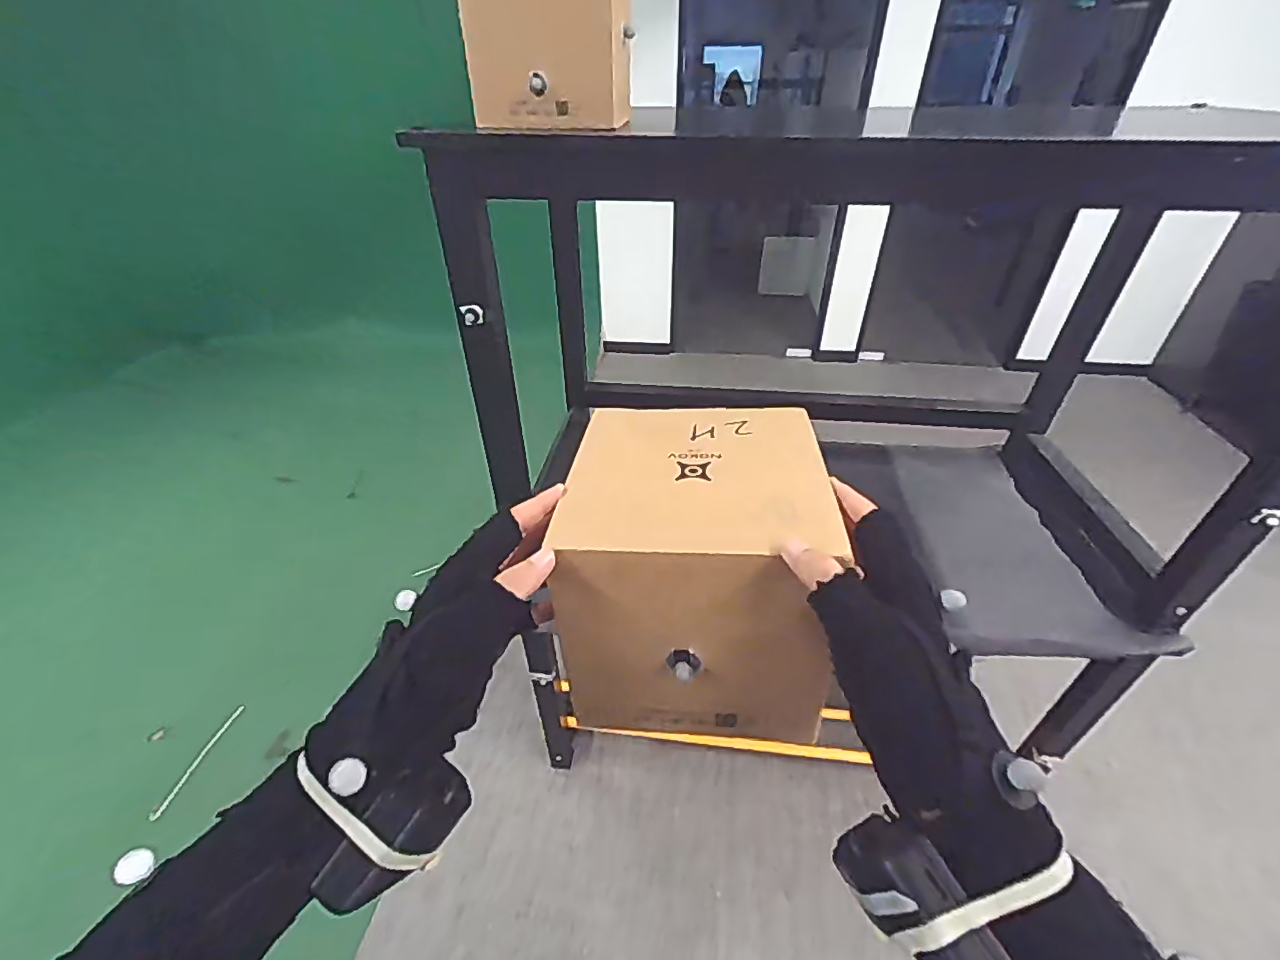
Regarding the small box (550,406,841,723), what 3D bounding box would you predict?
[{"bbox_3d":[0.044,0.057,0.409,0.168,0.176,0.179,1,33,7],"label":"small box"}]
